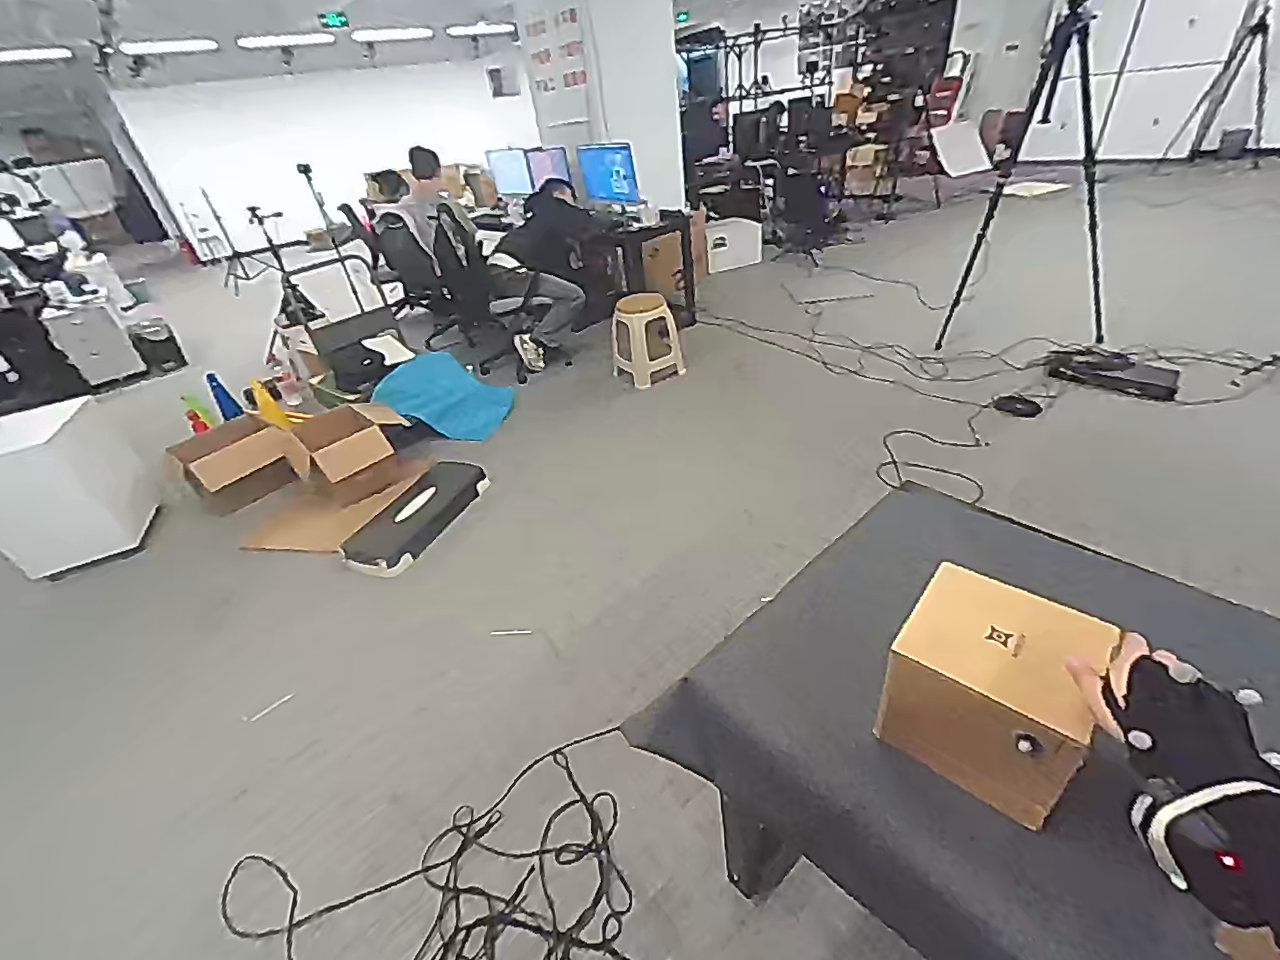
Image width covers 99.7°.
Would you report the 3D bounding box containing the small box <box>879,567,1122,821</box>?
[{"bbox_3d":[0.394,0.237,0.614,0.179,0.176,0.168,23,45,36],"label":"small box"}]
